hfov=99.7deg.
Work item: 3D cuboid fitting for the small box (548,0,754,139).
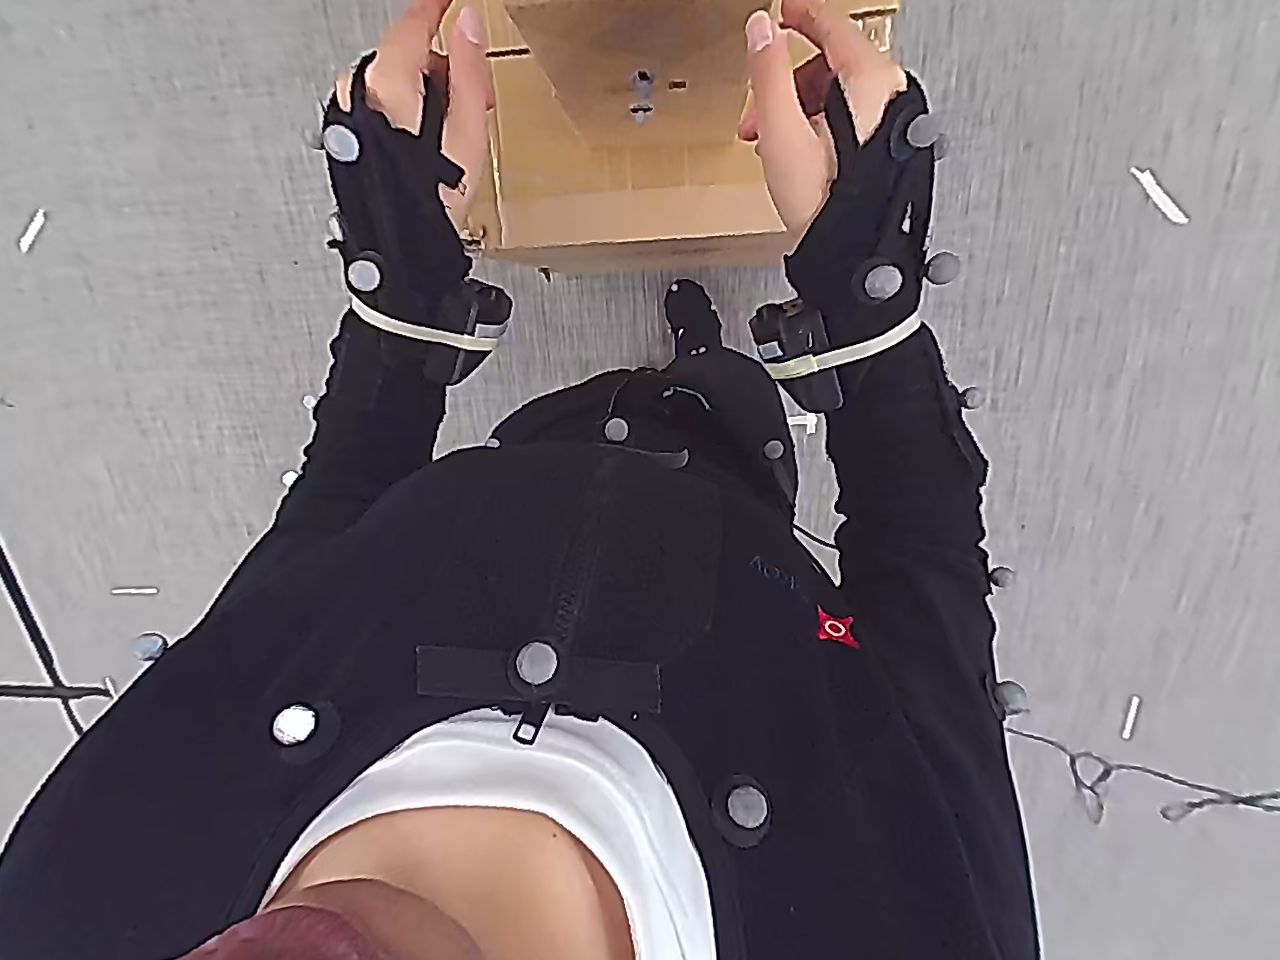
[{"bbox_3d":[0.015,-0.446,0.522,0.179,0.176,0.168,0,108,4],"label":"small box"}]
